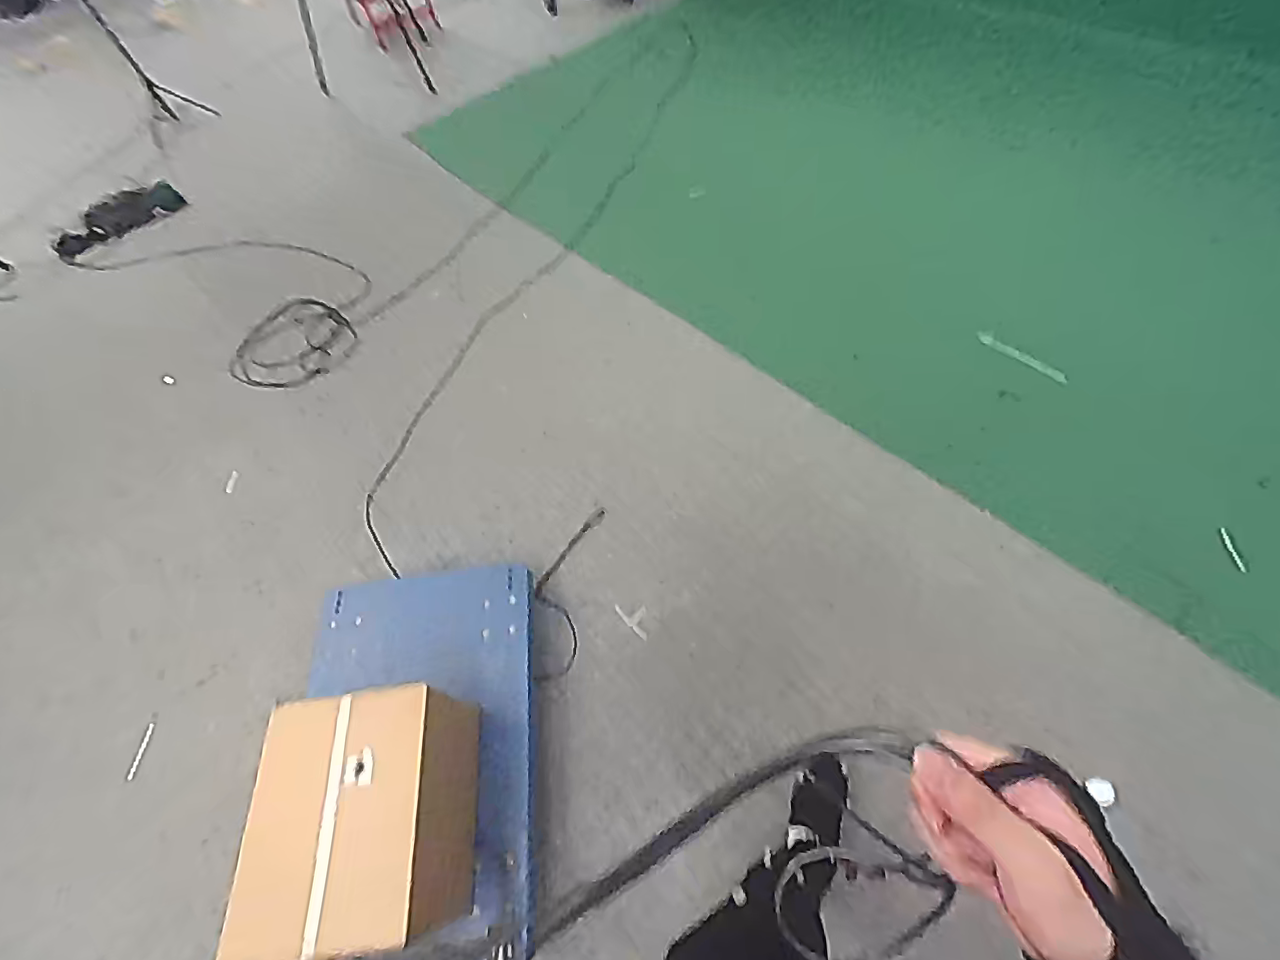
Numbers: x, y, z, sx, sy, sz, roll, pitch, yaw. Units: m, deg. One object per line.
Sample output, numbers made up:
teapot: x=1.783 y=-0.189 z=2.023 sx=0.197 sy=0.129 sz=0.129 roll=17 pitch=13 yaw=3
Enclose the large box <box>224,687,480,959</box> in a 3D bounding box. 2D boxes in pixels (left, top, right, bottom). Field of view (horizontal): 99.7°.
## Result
large box: x=-0.522 y=0.674 z=1.079 sx=0.320 sy=0.320 sz=0.408 roll=-9 pitch=57 yaw=0
